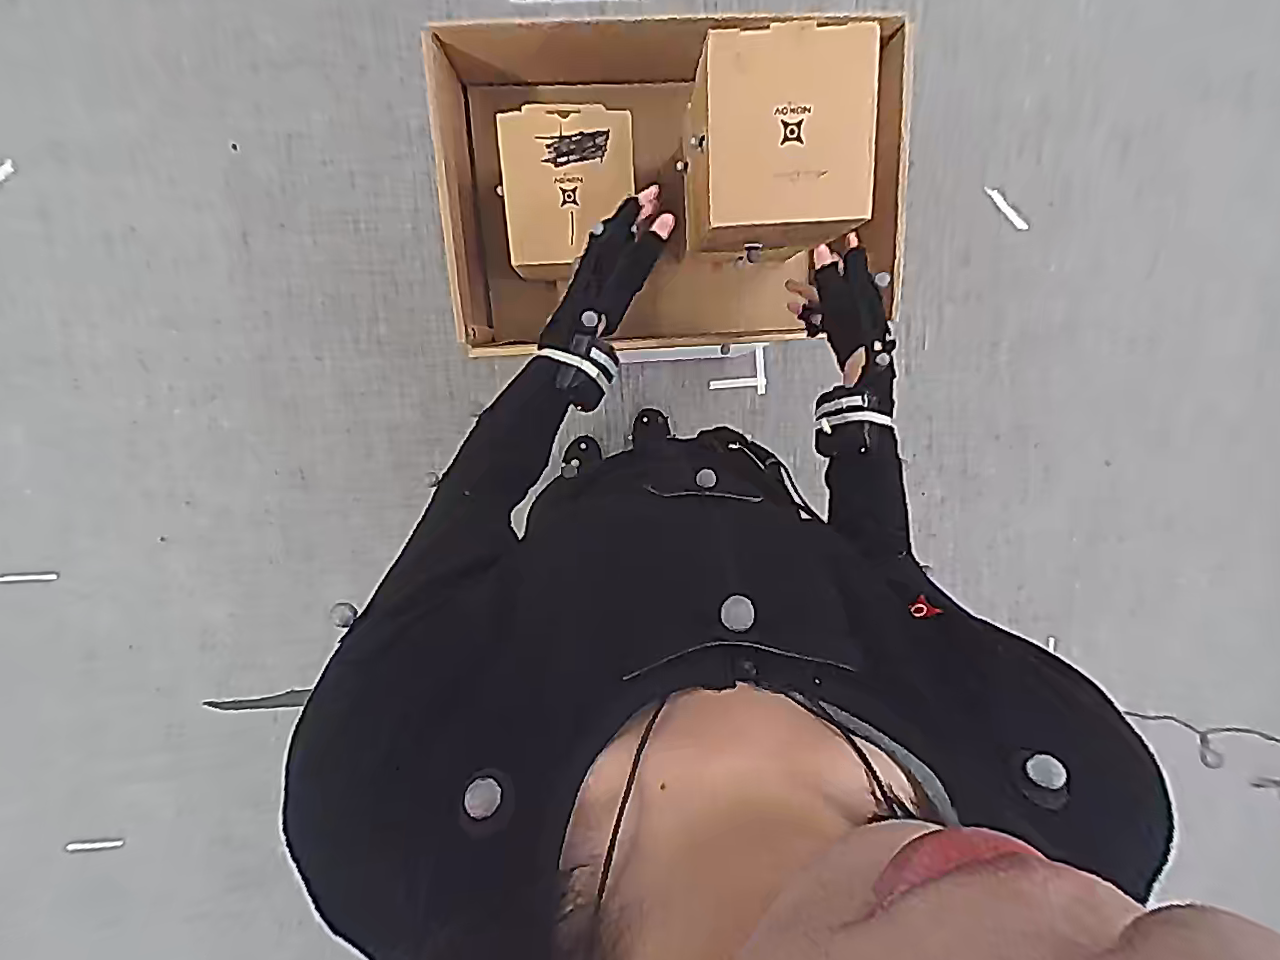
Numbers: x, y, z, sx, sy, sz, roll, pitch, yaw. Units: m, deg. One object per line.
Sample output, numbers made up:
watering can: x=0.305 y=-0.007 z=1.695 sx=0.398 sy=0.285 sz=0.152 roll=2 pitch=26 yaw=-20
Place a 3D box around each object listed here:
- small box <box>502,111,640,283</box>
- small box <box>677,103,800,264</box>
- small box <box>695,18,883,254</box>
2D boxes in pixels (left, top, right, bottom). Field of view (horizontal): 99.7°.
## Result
small box: x=-0.090 y=-0.380 z=0.753 sx=0.168 sy=0.176 sz=0.179 roll=-4 pitch=104 yaw=-3
small box: x=0.150 y=-0.407 z=0.763 sx=0.179 sy=0.176 sz=0.168 roll=-3 pitch=102 yaw=-1
small box: x=0.152 y=-0.364 z=0.605 sx=0.168 sy=0.176 sz=0.179 roll=-3 pitch=104 yaw=1
